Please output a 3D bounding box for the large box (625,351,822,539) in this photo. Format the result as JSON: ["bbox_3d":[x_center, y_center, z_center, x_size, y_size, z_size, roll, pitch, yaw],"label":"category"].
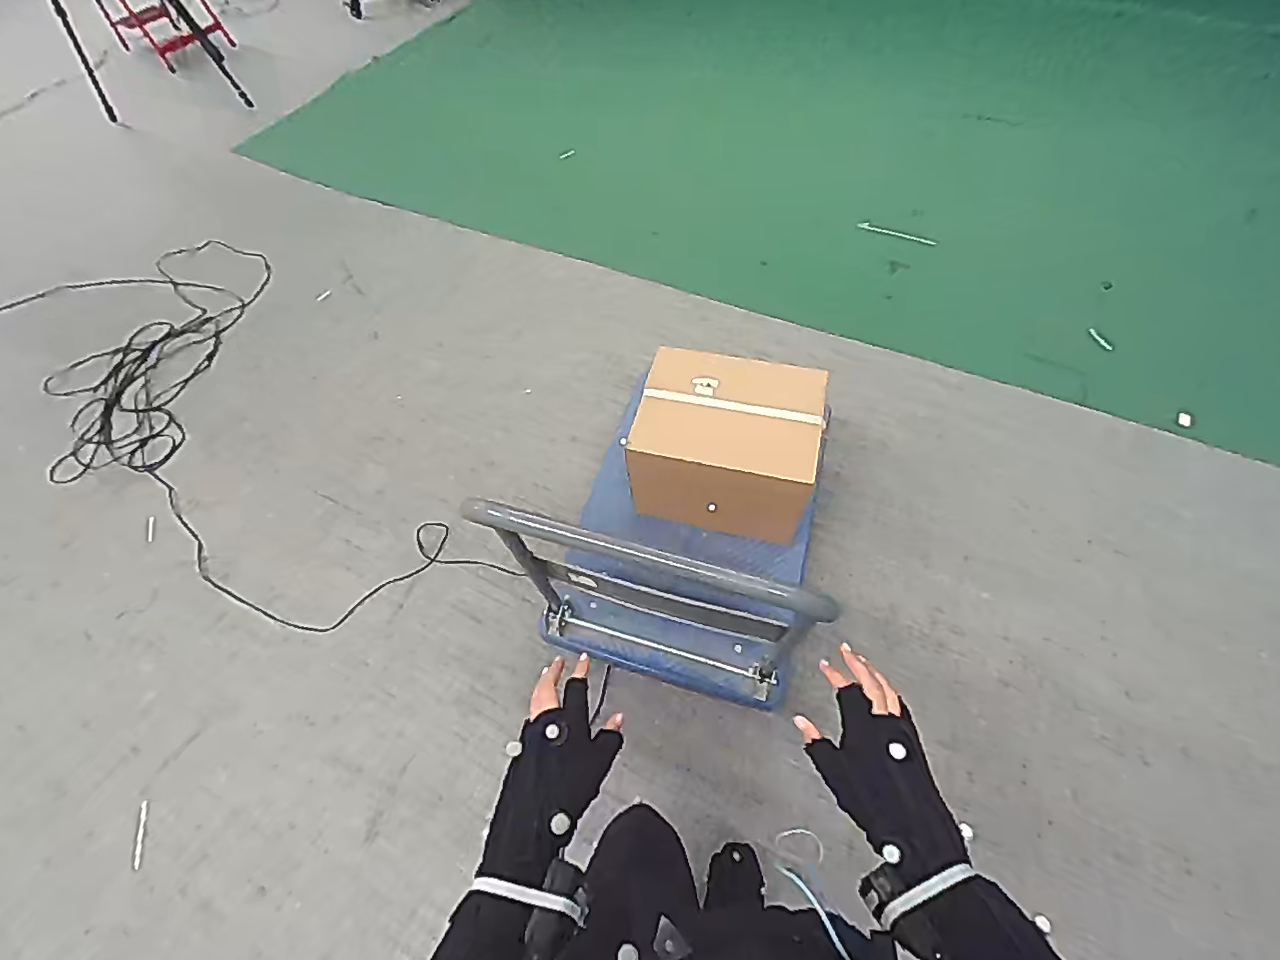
[{"bbox_3d":[0.207,-0.081,1.340,0.408,0.320,0.320,10,60,11],"label":"large box"}]
